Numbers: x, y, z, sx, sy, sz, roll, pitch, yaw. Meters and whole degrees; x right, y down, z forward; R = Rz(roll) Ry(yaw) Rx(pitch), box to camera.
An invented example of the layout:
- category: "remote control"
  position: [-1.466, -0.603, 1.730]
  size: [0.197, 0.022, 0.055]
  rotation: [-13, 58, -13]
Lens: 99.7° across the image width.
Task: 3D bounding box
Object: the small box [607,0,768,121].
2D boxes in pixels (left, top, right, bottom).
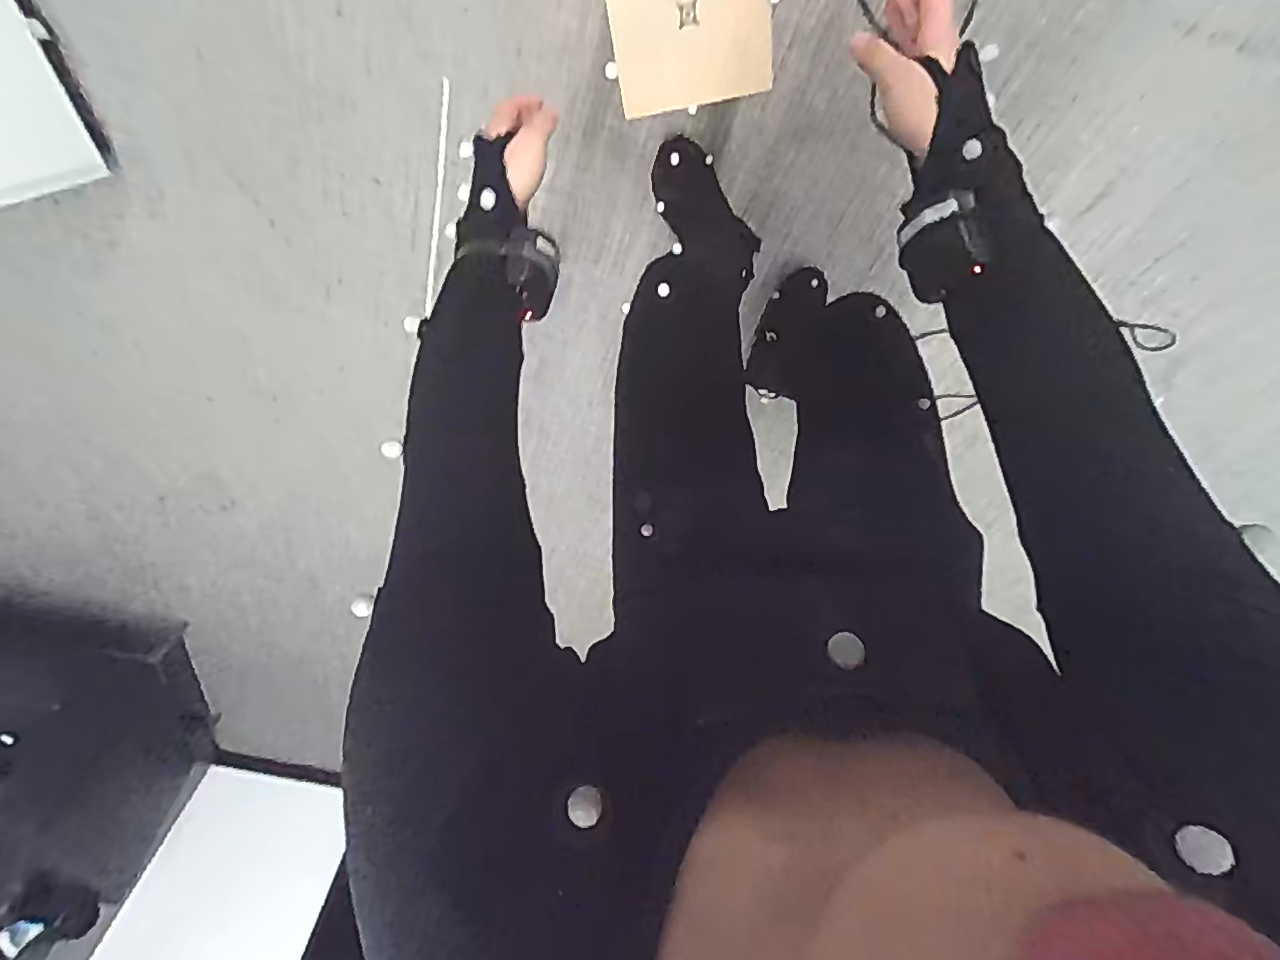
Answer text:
- category: "small box"
  position: [0.055, -0.539, 0.618]
  size: [0.168, 0.176, 0.179]
  rotation: [-6, 129, 9]
